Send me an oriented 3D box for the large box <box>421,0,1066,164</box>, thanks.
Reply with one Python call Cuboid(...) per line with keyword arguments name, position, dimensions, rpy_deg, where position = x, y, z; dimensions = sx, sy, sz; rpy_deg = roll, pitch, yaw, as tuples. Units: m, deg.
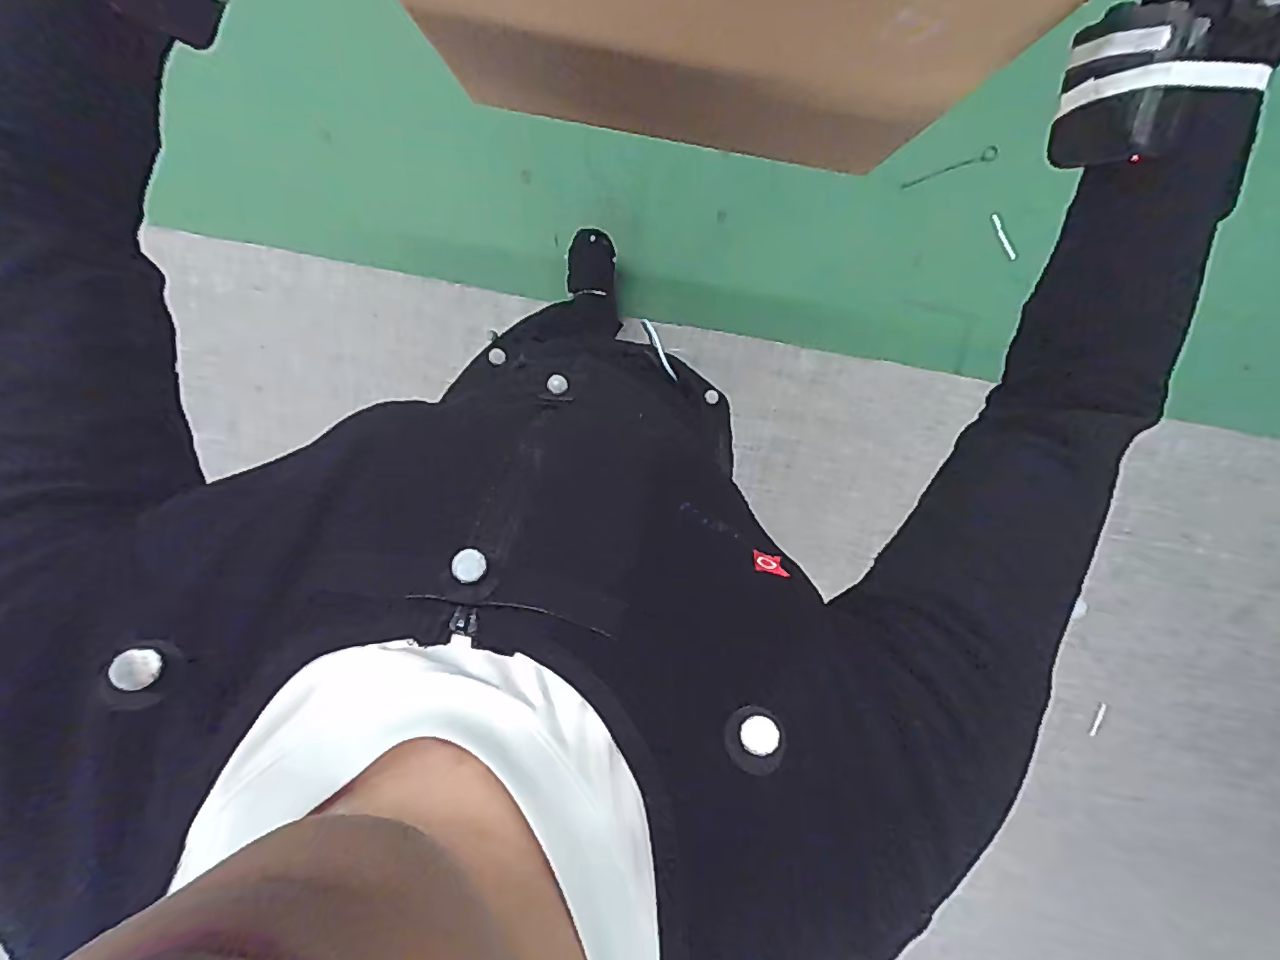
Cuboid(name="large box", position=(0.059, -0.457, 0.365), dimensions=(0.408, 0.320, 0.320), rpy_deg=(9, 104, -3))
